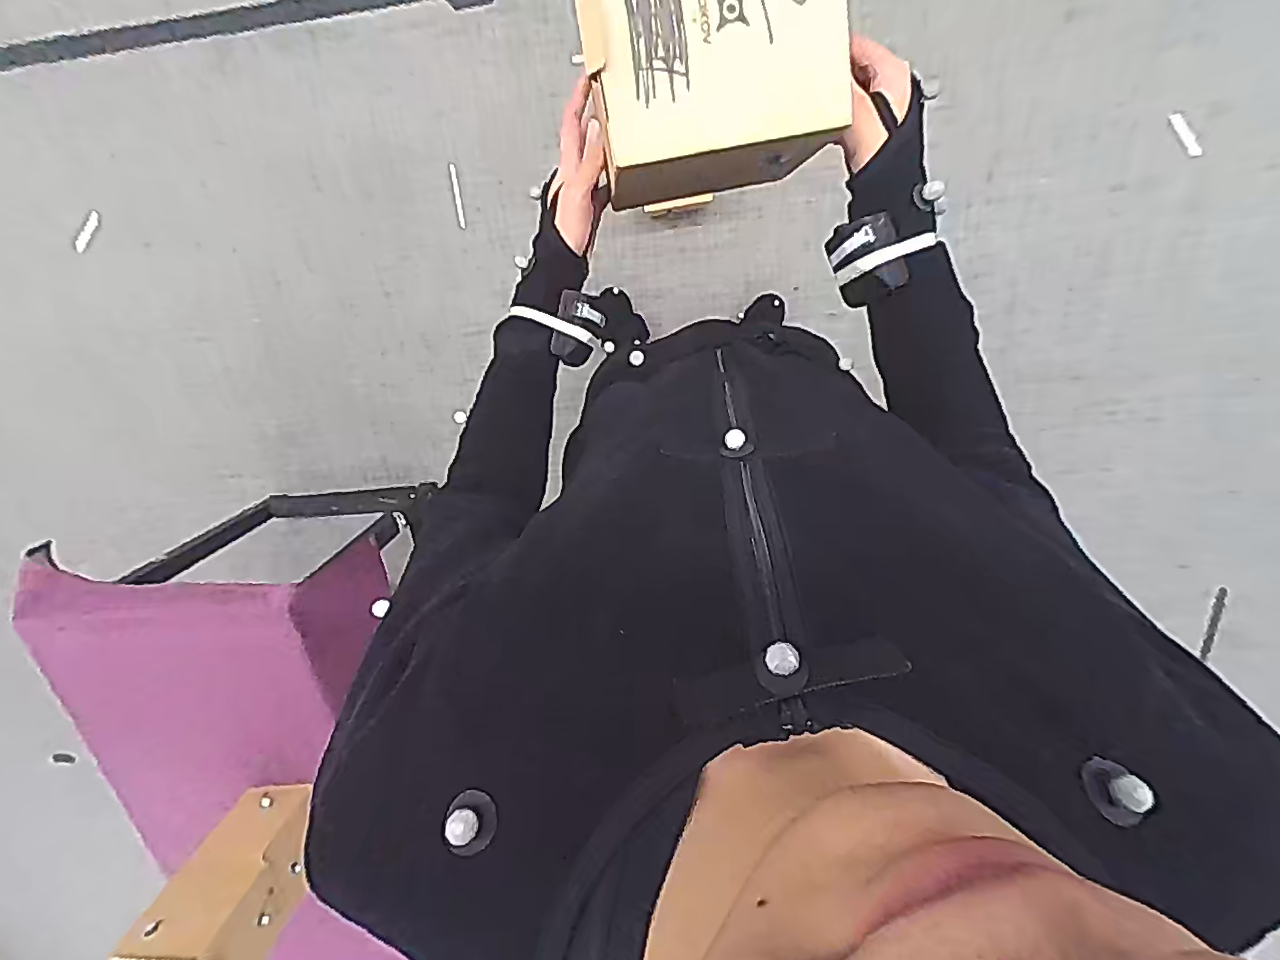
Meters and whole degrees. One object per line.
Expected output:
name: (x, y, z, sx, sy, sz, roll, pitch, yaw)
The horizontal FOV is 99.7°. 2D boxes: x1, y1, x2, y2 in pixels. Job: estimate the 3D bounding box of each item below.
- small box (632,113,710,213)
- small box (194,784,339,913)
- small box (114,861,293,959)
small box: (0.079, -0.758, 1.313, 0.168, 0.176, 0.179, -8, 110, 6)
small box: (-0.799, 0.801, 1.180, 0.168, 0.176, 0.179, -8, 109, 7)
small box: (-0.813, 0.861, 1.027, 0.179, 0.176, 0.168, -3, 111, 5)
